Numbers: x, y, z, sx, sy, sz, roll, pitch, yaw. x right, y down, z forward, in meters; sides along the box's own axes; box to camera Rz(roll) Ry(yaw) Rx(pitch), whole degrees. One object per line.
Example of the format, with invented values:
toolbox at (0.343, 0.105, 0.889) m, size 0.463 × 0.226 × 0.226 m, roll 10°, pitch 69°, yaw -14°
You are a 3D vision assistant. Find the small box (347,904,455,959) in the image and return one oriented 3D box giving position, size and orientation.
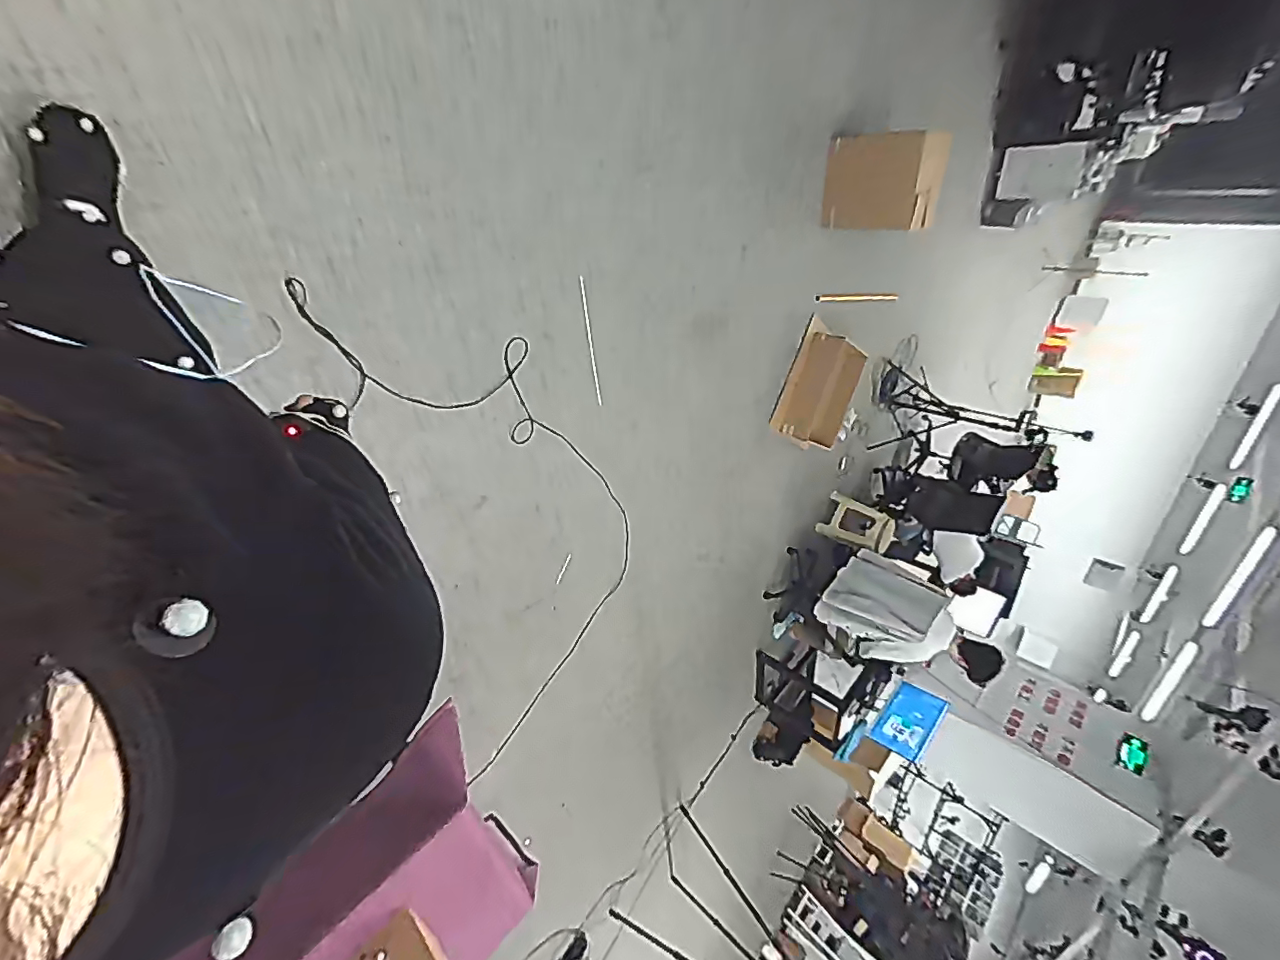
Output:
small box at (-0.473, 1.023, 1.100) m, size 0.168 × 0.176 × 0.179 m, roll -34°, pitch 131°, yaw -34°
